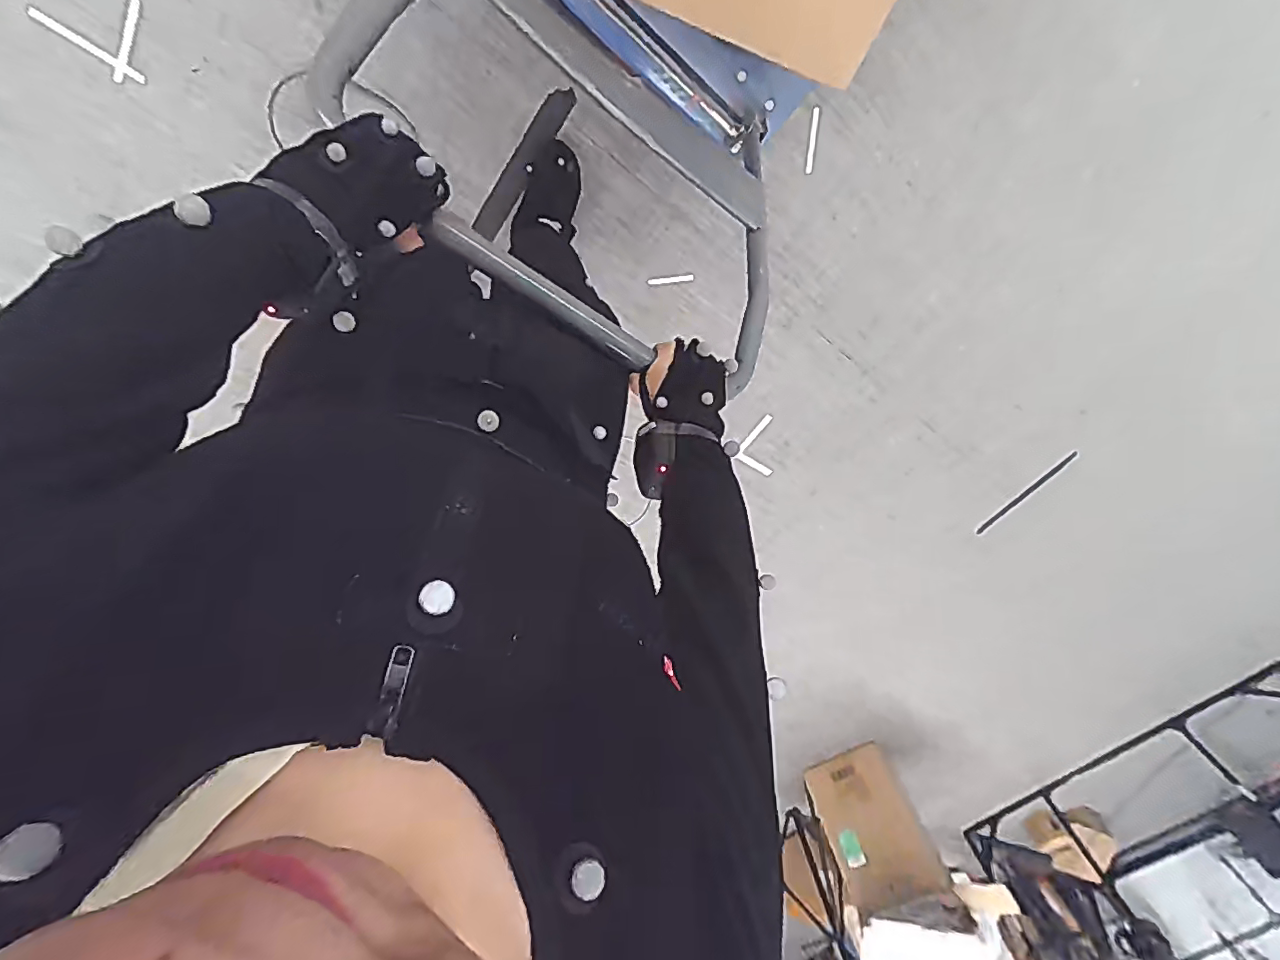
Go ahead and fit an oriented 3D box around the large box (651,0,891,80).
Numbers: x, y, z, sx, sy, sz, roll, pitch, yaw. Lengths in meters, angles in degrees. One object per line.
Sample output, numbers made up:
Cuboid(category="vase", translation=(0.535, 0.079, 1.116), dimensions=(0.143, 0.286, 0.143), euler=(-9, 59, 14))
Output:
Cuboid(category="large box", translation=(0.129, -0.755, 0.621), dimensions=(0.408, 0.320, 0.320), euler=(13, 143, -13))
